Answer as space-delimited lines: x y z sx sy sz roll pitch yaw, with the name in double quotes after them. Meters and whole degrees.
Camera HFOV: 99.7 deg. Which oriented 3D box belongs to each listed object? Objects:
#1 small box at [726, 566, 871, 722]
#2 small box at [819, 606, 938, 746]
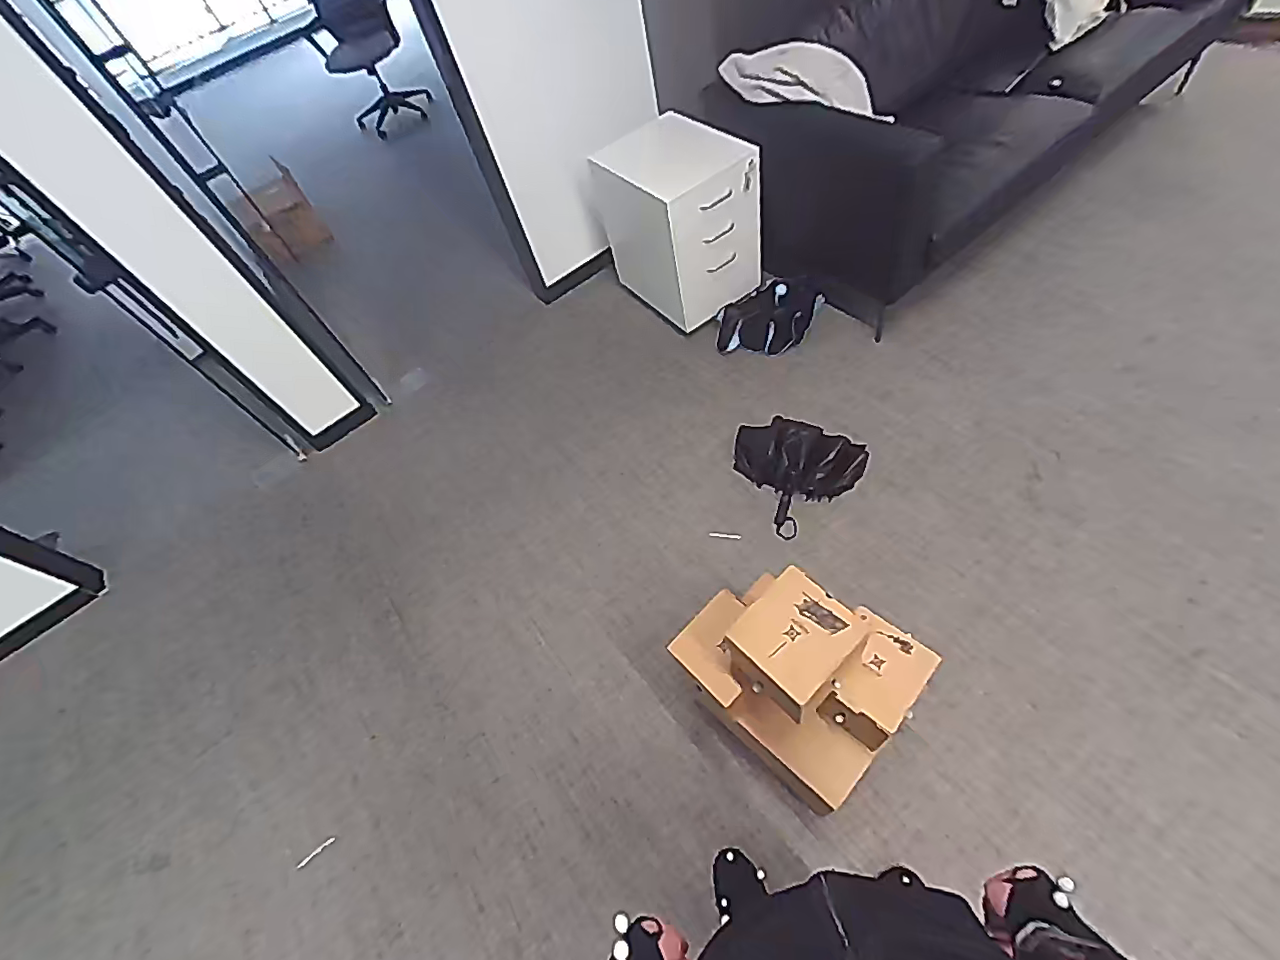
0.273 0.291 0.952 0.179 0.176 0.168 -42 56 -13 "small box"
0.440 0.385 1.050 0.168 0.176 0.179 34 69 31 "small box"
